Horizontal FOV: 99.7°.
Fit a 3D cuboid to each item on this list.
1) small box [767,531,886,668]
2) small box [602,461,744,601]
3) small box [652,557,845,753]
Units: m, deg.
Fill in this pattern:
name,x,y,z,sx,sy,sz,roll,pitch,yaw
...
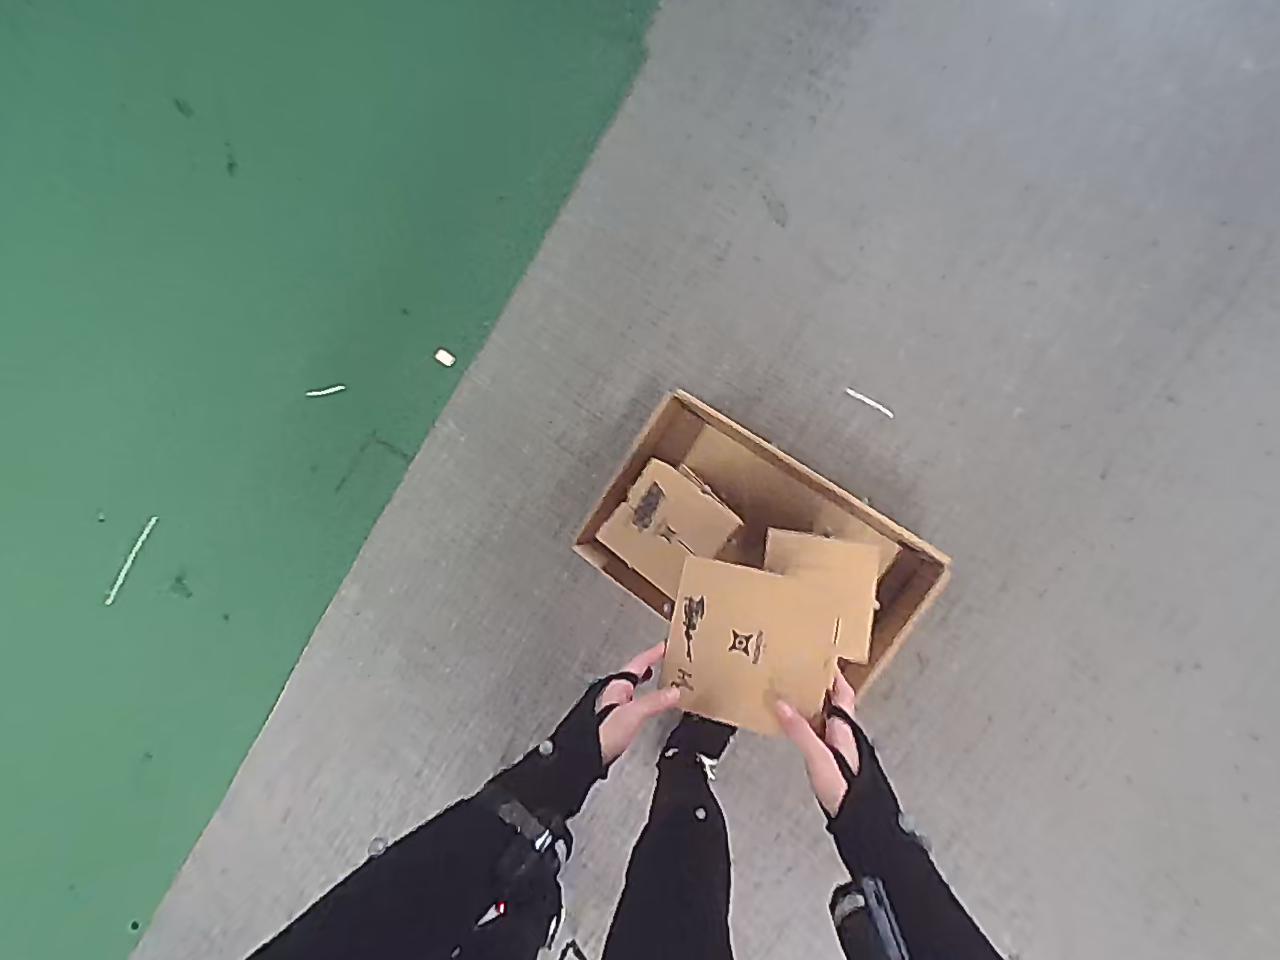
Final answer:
name,x,y,z,sx,sy,sz,roll,pitch,yaw
small box,0.293,0.185,0.891,0.168,0.176,0.179,7,89,14
small box,0.064,0.088,0.951,0.179,0.176,0.168,38,95,10
small box,0.126,0.196,0.646,0.179,0.176,0.168,11,79,12
